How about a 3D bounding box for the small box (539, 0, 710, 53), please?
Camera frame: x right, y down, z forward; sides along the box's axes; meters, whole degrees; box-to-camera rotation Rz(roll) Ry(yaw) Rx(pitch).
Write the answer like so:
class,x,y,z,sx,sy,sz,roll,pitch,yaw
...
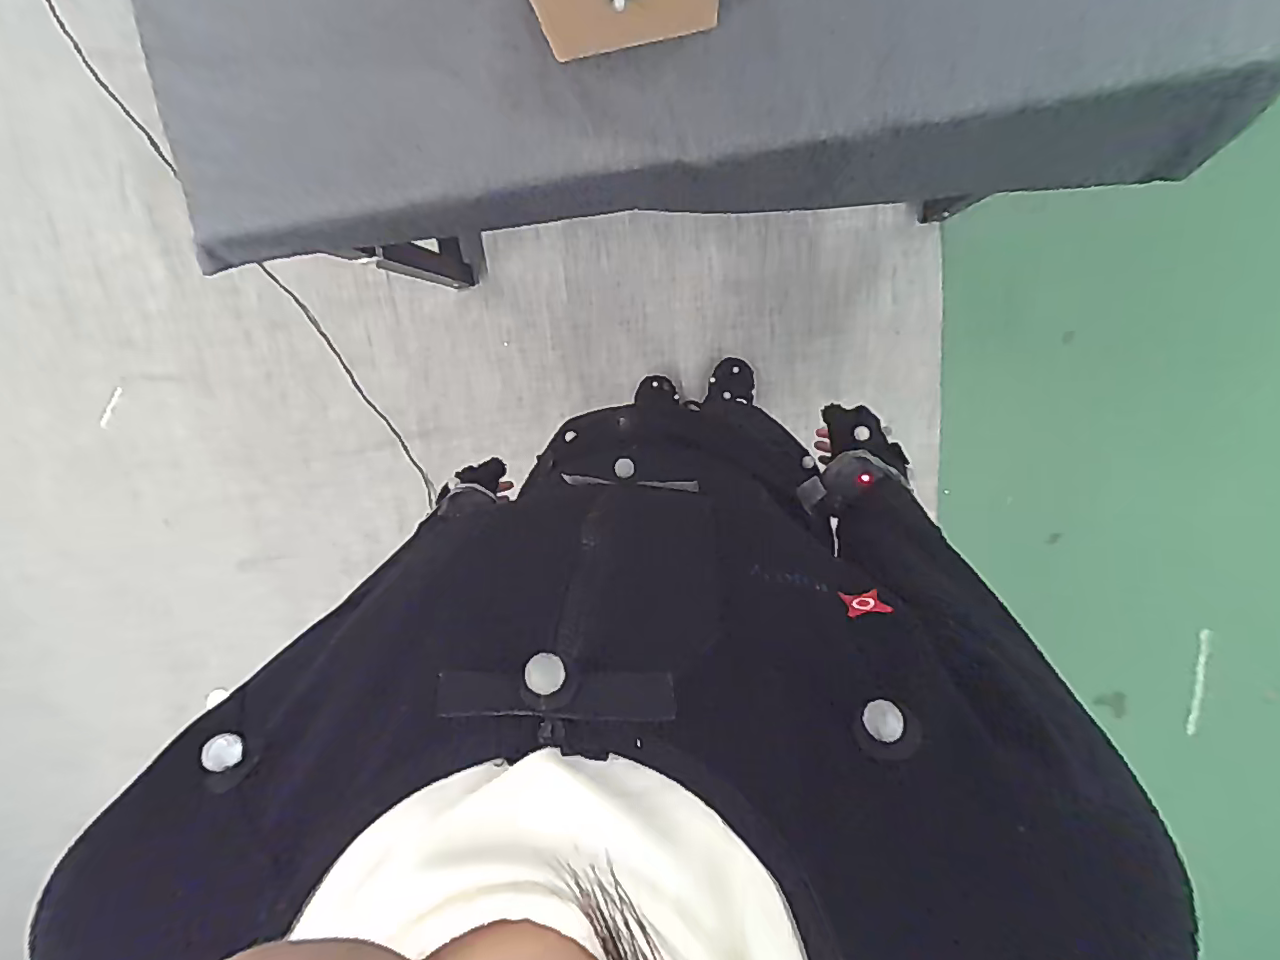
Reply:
class,x,y,z,sx,sy,sz,roll,pitch,yaw
small box,-0.021,-0.527,0.477,0.179,0.176,0.168,-10,103,6
